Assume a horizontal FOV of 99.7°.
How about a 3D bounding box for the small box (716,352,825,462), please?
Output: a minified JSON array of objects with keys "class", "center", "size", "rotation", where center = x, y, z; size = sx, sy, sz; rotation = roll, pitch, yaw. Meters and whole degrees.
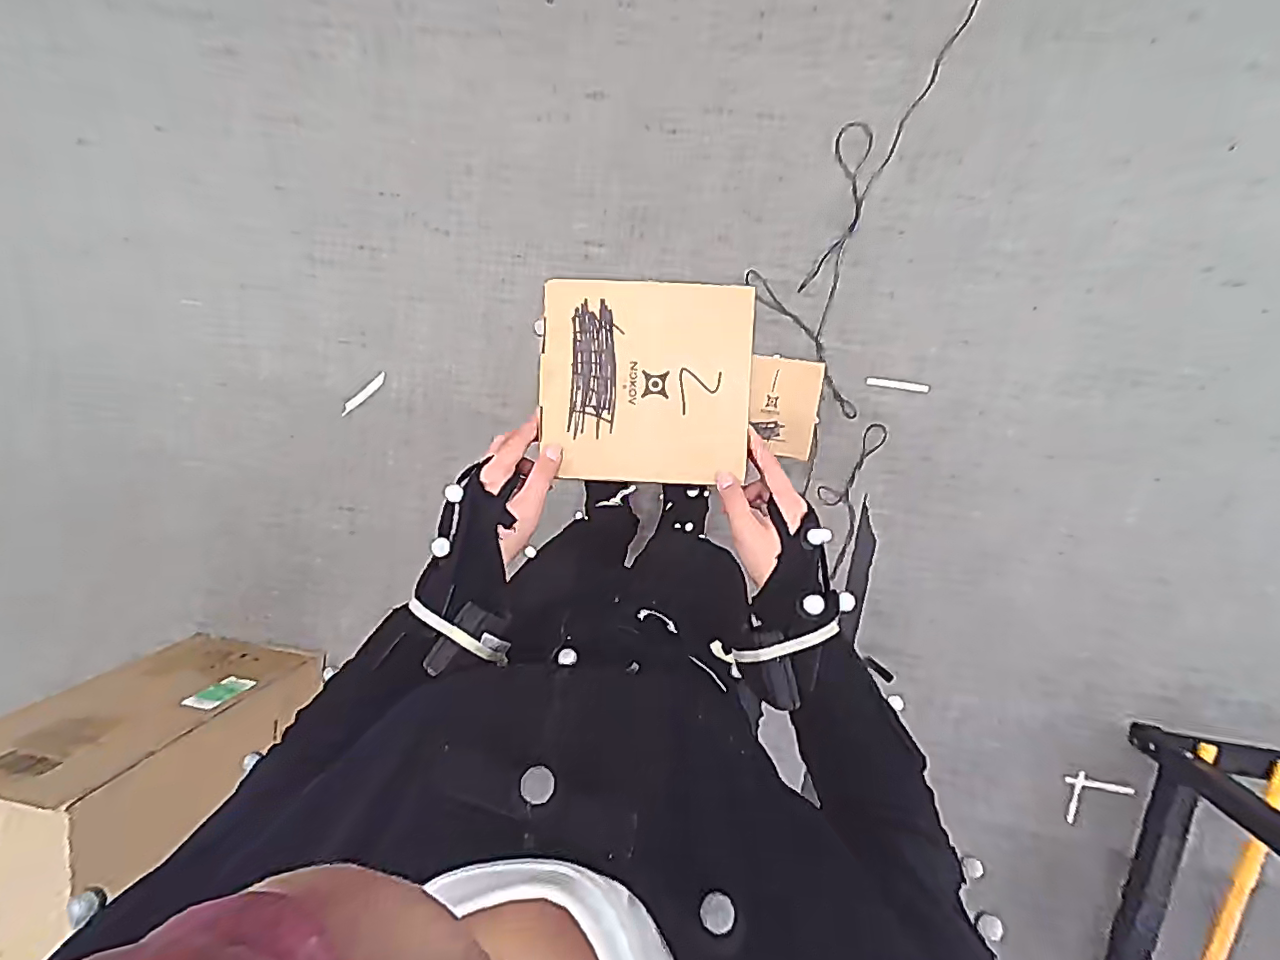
[{"class":"small box","center":[0.241,-0.138,1.037],"size":[0.168,0.176,0.179],"rotation":[9,97,6]}]
